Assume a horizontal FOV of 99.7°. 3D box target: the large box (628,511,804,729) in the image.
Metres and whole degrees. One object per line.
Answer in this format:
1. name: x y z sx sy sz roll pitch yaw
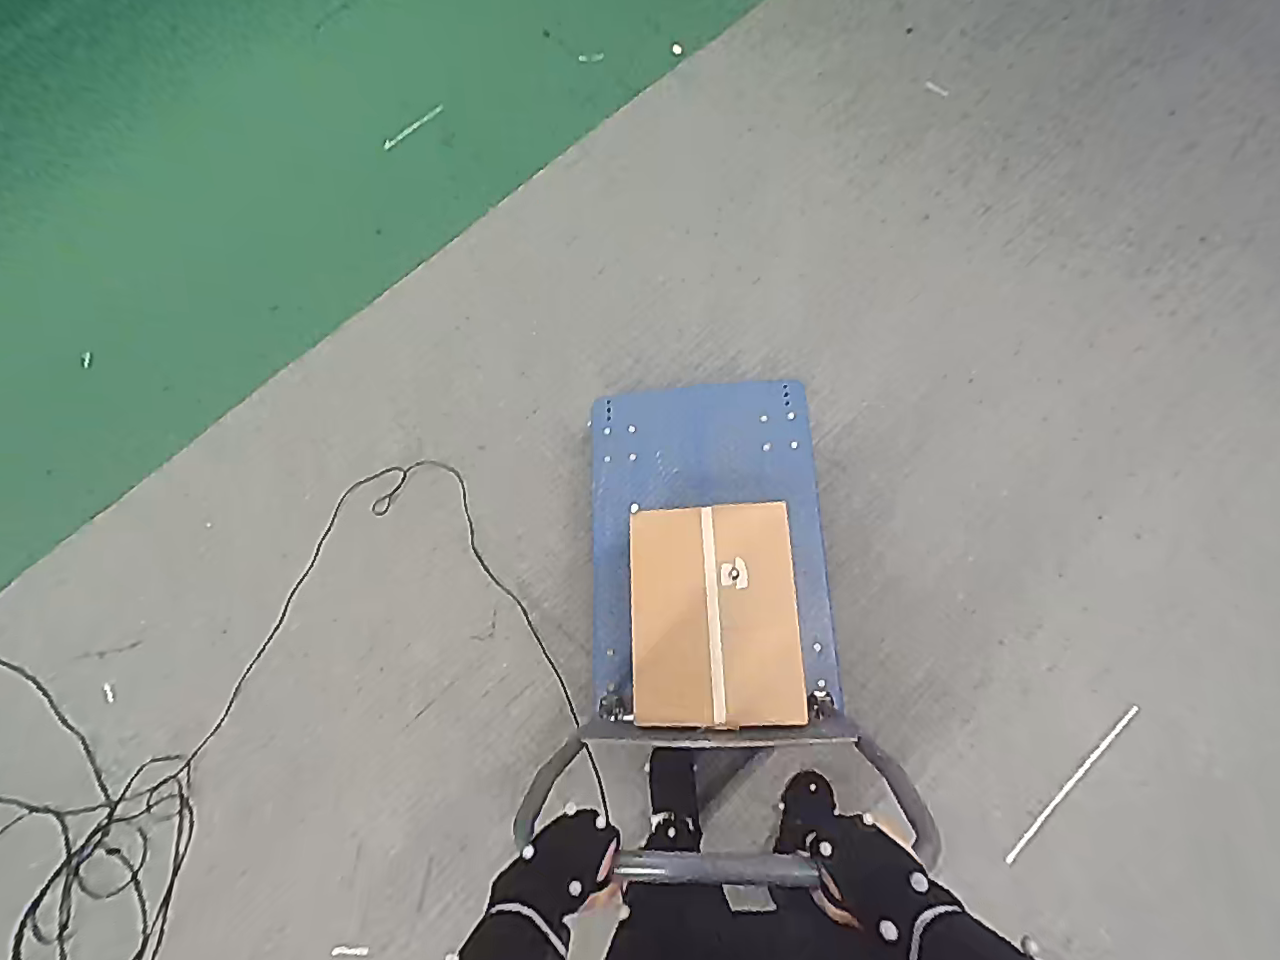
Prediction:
1. large box: 0.159 0.307 1.182 0.320 0.320 0.408 -4 72 8
